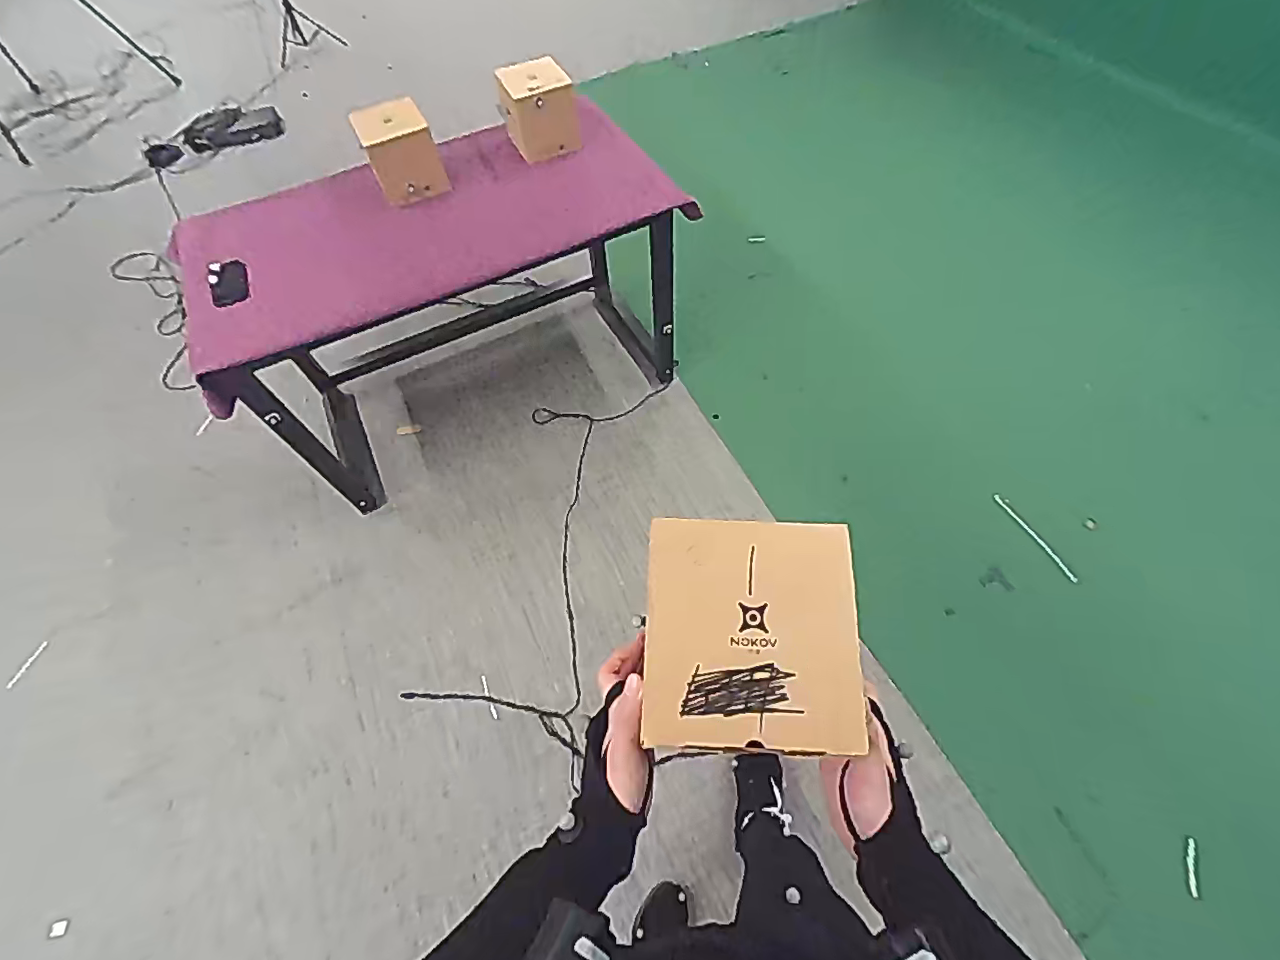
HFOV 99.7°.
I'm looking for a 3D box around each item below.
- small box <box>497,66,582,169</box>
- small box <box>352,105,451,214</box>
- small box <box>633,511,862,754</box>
[{"bbox_3d":[-0.276,-1.000,1.496,0.168,0.176,0.179,-24,60,-9],"label":"small box"},{"bbox_3d":[-0.623,-0.840,1.424,0.168,0.176,0.179,-26,62,-11],"label":"small box"},{"bbox_3d":[0.083,0.137,0.488,0.168,0.176,0.179,2,69,2],"label":"small box"}]
